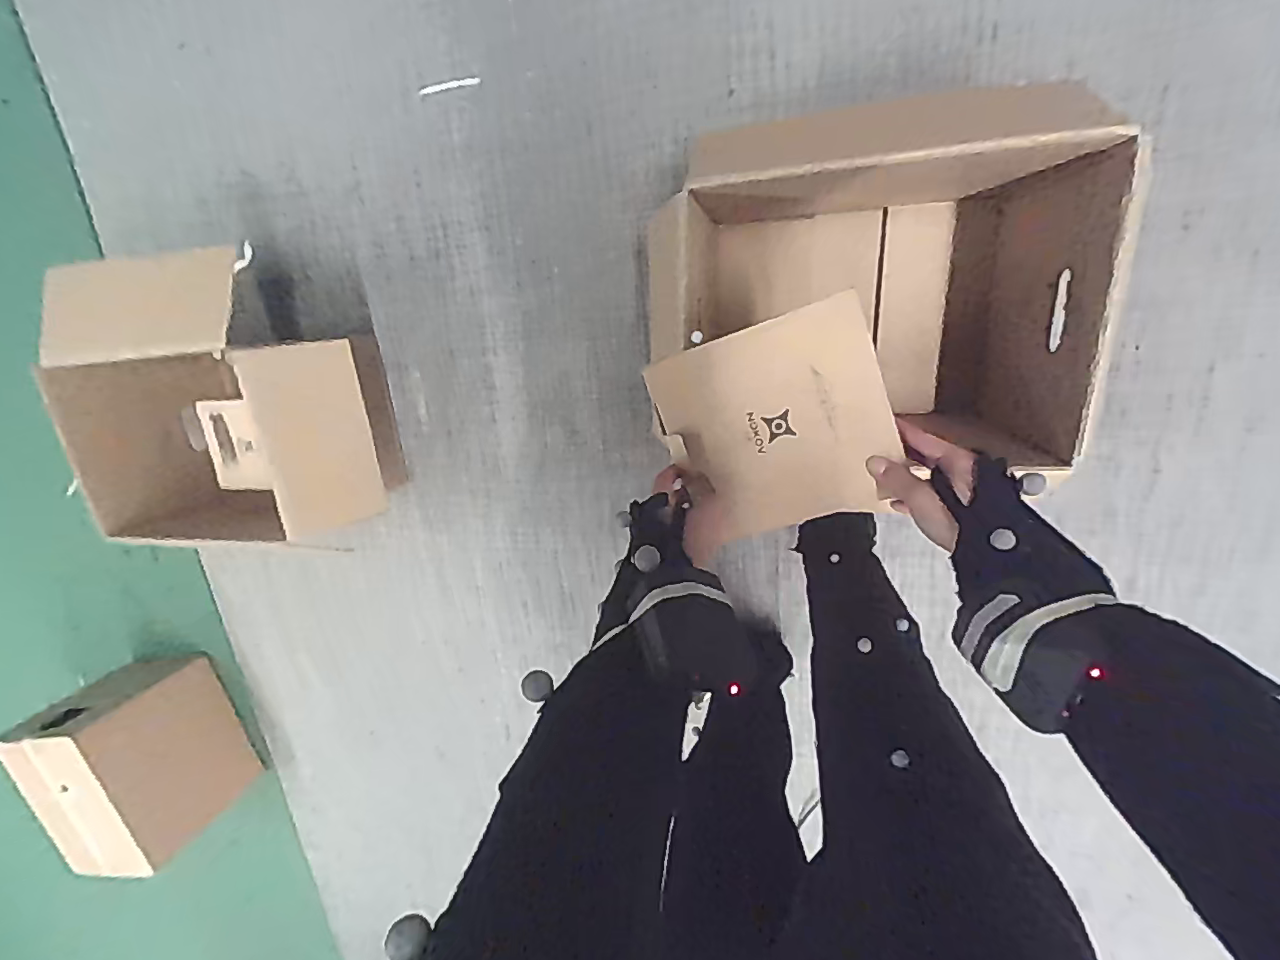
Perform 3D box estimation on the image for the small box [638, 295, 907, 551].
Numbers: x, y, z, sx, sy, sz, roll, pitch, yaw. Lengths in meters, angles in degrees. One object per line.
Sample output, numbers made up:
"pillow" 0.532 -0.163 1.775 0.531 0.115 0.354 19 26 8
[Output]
"small box" 0.121 -0.055 0.506 0.179 0.176 0.168 -18 100 16
